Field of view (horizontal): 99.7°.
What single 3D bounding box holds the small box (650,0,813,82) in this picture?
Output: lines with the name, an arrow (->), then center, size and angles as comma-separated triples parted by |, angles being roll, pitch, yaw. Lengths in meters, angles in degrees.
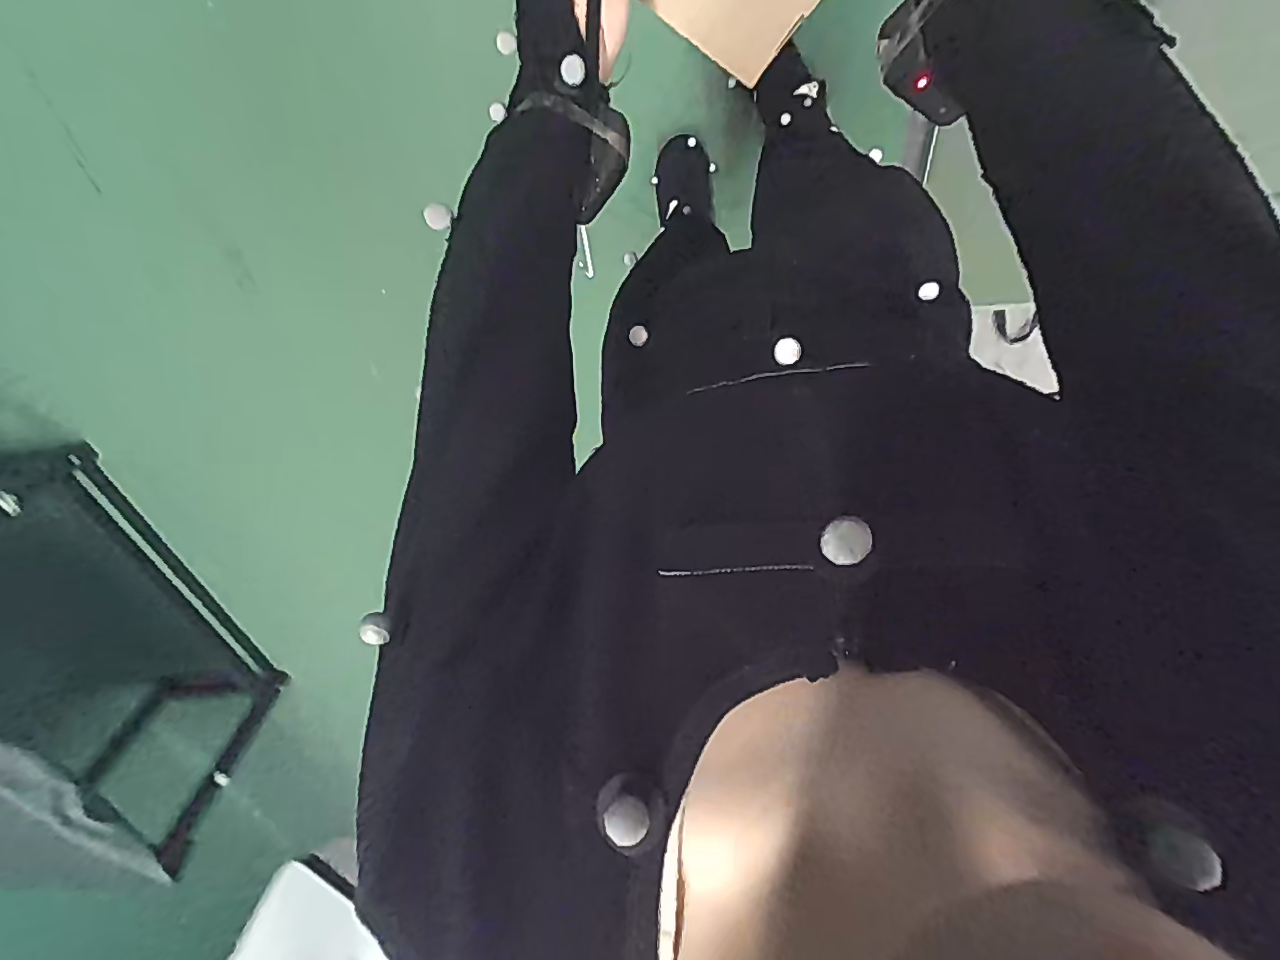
small box -> 0.064, -0.462, 0.400 | 0.179, 0.176, 0.168 | 16, 144, -31
